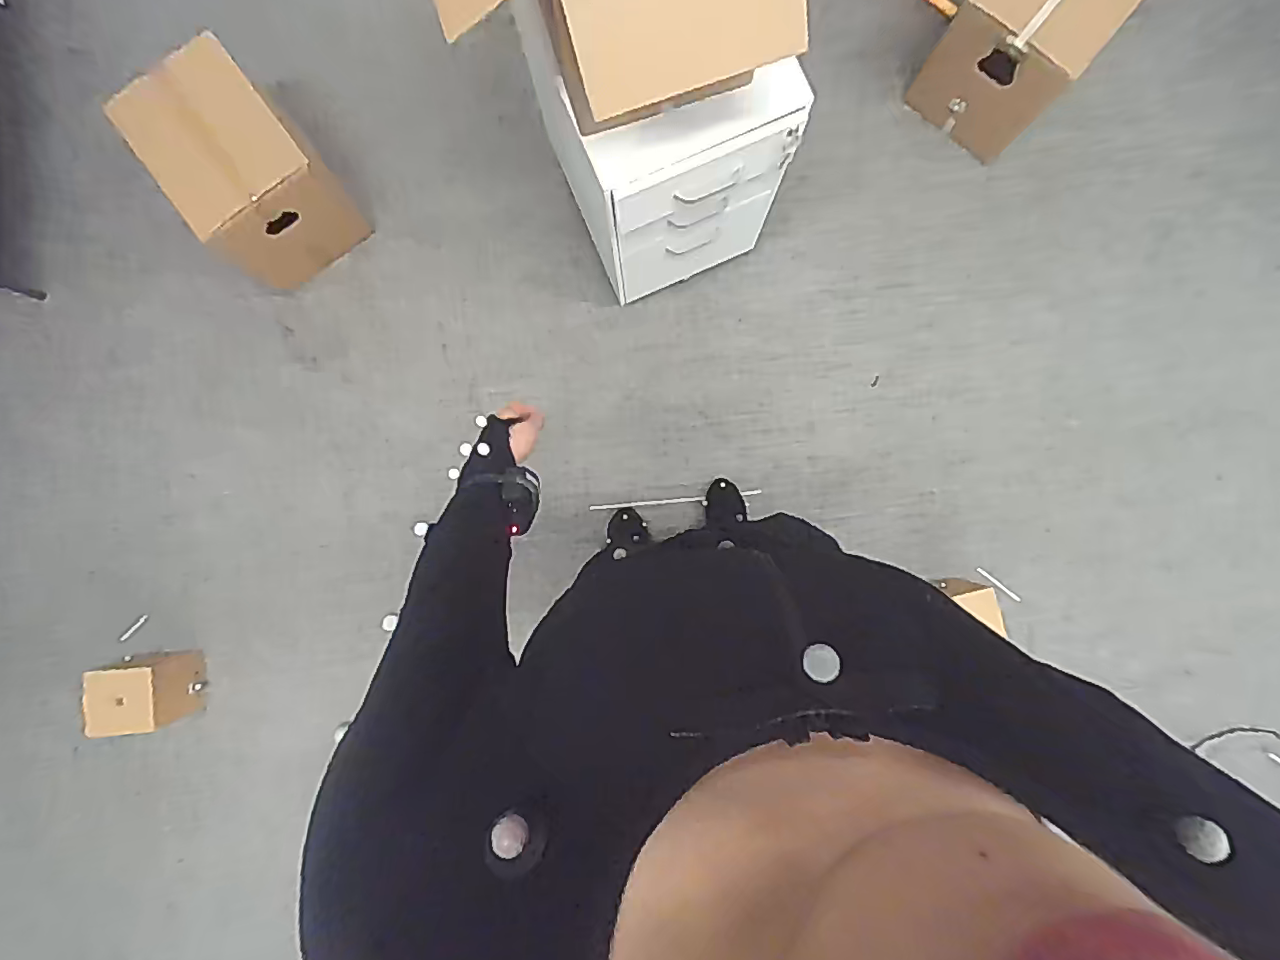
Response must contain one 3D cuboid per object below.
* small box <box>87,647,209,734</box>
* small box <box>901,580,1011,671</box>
[{"bbox_3d":[-1.301,0.554,1.438,0.179,0.176,0.168,-5,89,0],"label":"small box"},{"bbox_3d":[0.799,0.362,1.386,0.168,0.176,0.179,-14,88,1],"label":"small box"}]
